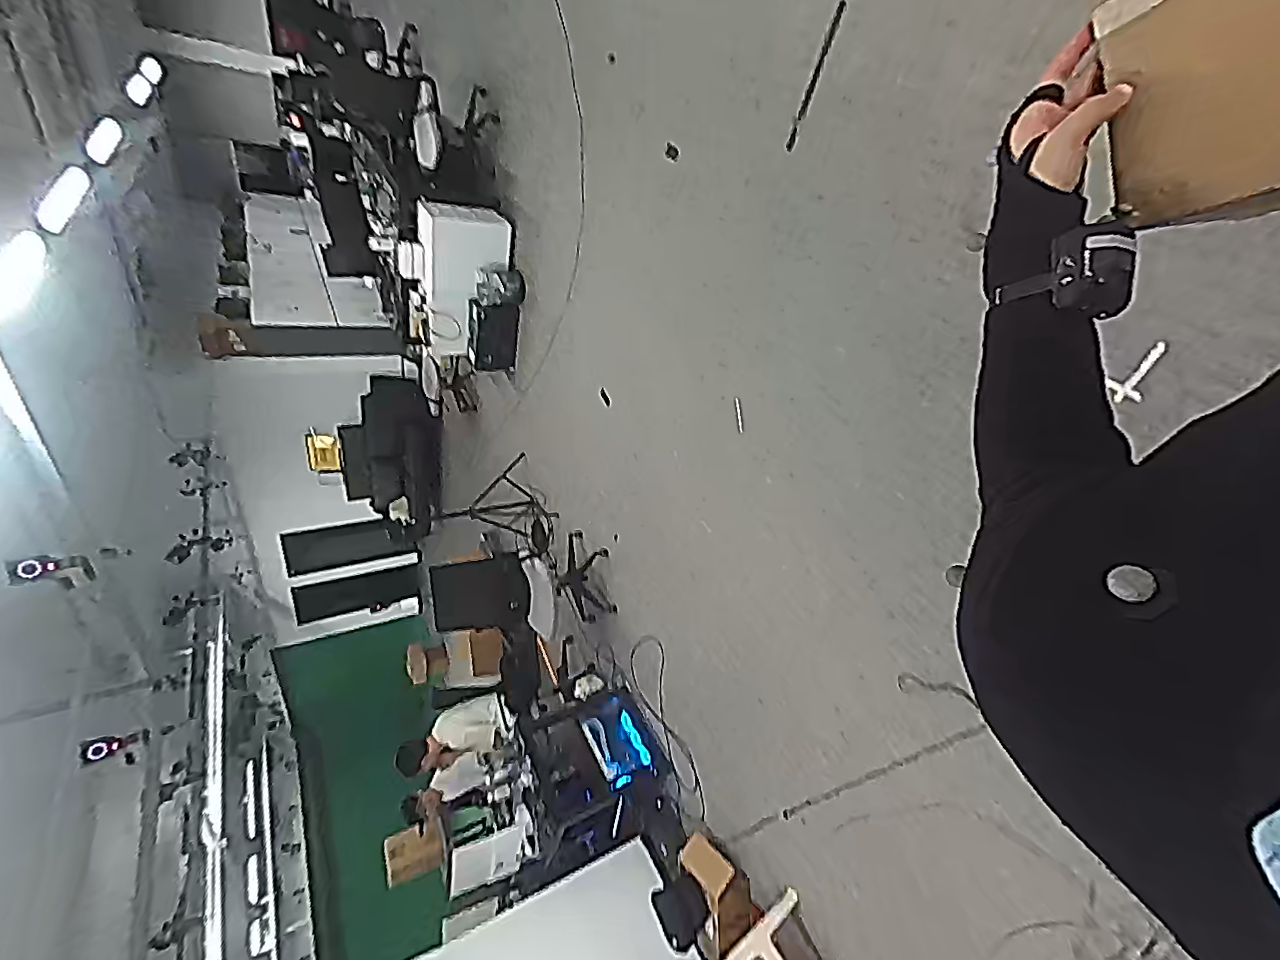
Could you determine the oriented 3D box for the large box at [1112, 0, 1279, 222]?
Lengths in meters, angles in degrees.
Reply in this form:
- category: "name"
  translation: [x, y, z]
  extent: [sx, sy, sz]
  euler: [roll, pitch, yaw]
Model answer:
- category: "large box"
  translation: [0.584, -0.392, 0.307]
  extent: [0.408, 0.320, 0.320]
  euler: [1, 105, 61]
